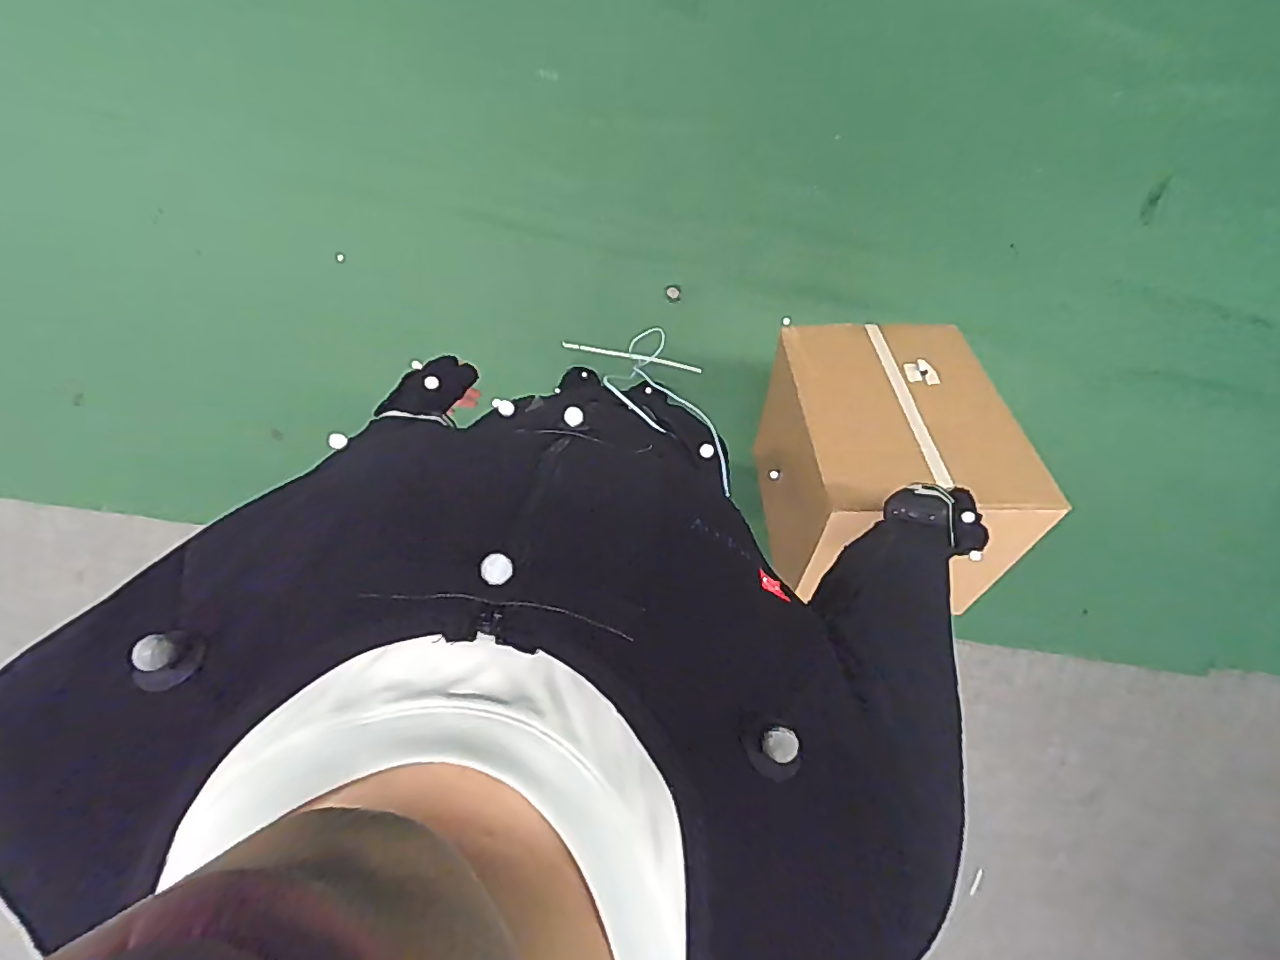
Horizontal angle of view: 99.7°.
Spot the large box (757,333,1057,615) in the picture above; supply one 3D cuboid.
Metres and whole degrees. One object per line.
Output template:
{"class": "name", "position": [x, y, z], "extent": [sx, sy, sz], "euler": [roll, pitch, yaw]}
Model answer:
{"class": "large box", "position": [0.406, -0.012, 0.957], "extent": [0.320, 0.408, 0.320], "euler": [0, 140, 0]}
